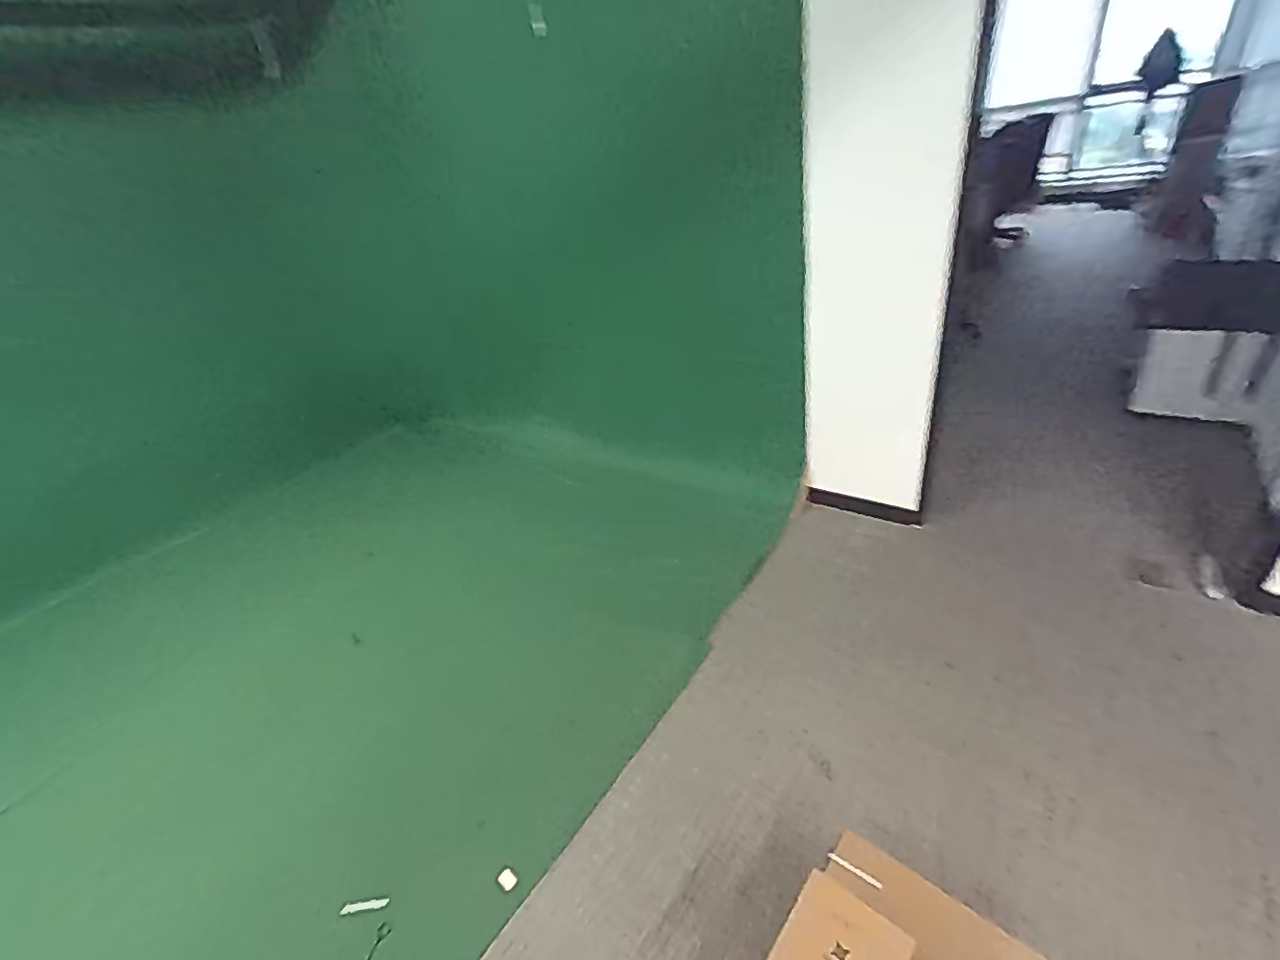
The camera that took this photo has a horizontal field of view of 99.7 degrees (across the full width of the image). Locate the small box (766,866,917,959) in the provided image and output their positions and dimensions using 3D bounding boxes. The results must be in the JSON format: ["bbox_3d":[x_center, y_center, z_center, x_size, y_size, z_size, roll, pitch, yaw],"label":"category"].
[{"bbox_3d":[0.315,0.779,0.852,0.168,0.176,0.179,19,41,39],"label":"small box"}]
